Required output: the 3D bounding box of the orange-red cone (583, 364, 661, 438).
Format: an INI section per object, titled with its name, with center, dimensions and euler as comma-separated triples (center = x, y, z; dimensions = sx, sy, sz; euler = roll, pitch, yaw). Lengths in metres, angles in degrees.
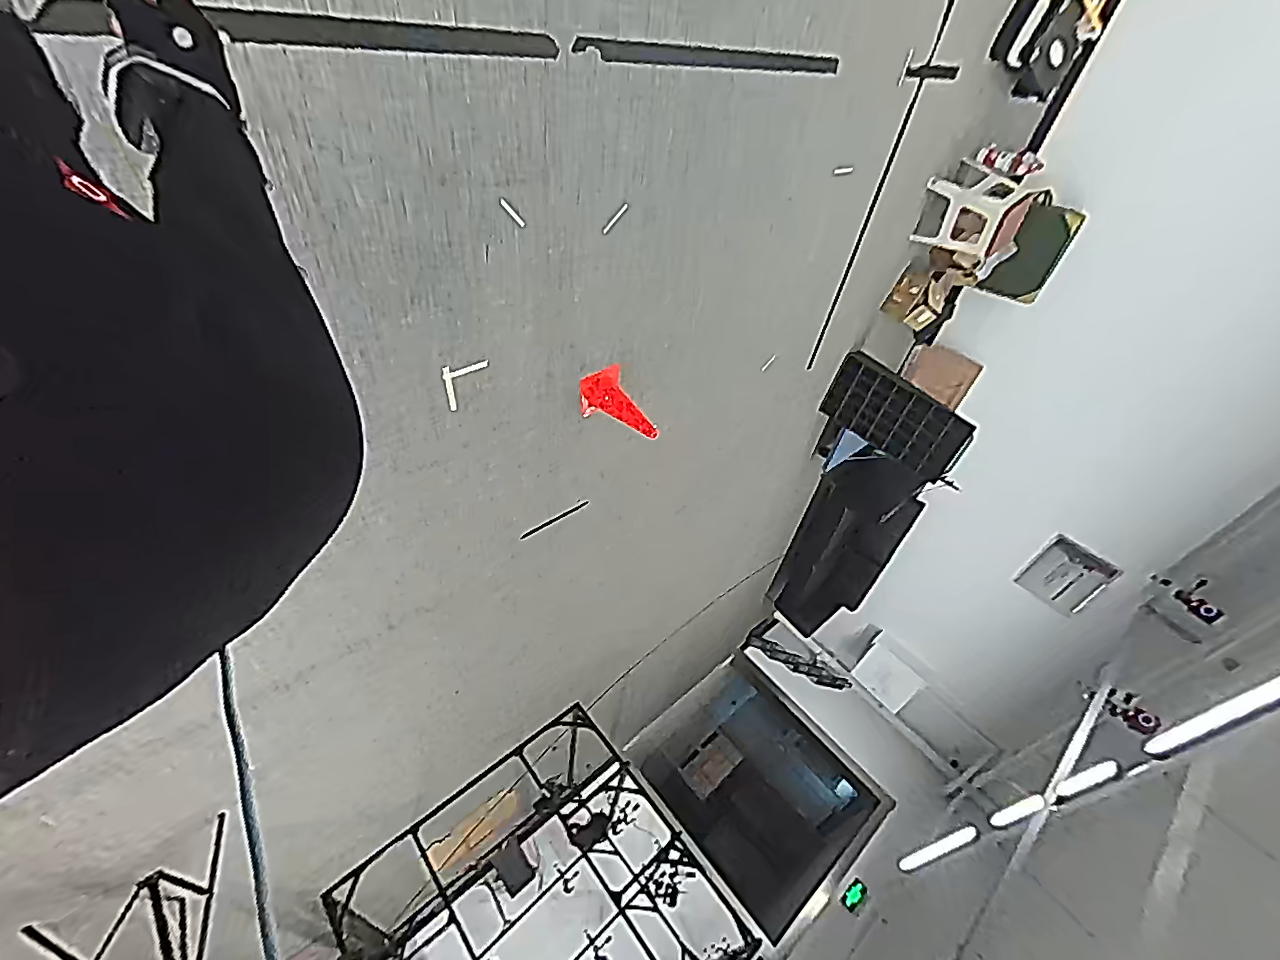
[orange-red cone]
center = -0.045, -0.284, 2.194
dimensions = 0.199, 0.360, 0.198
euler = -32, 148, -29
